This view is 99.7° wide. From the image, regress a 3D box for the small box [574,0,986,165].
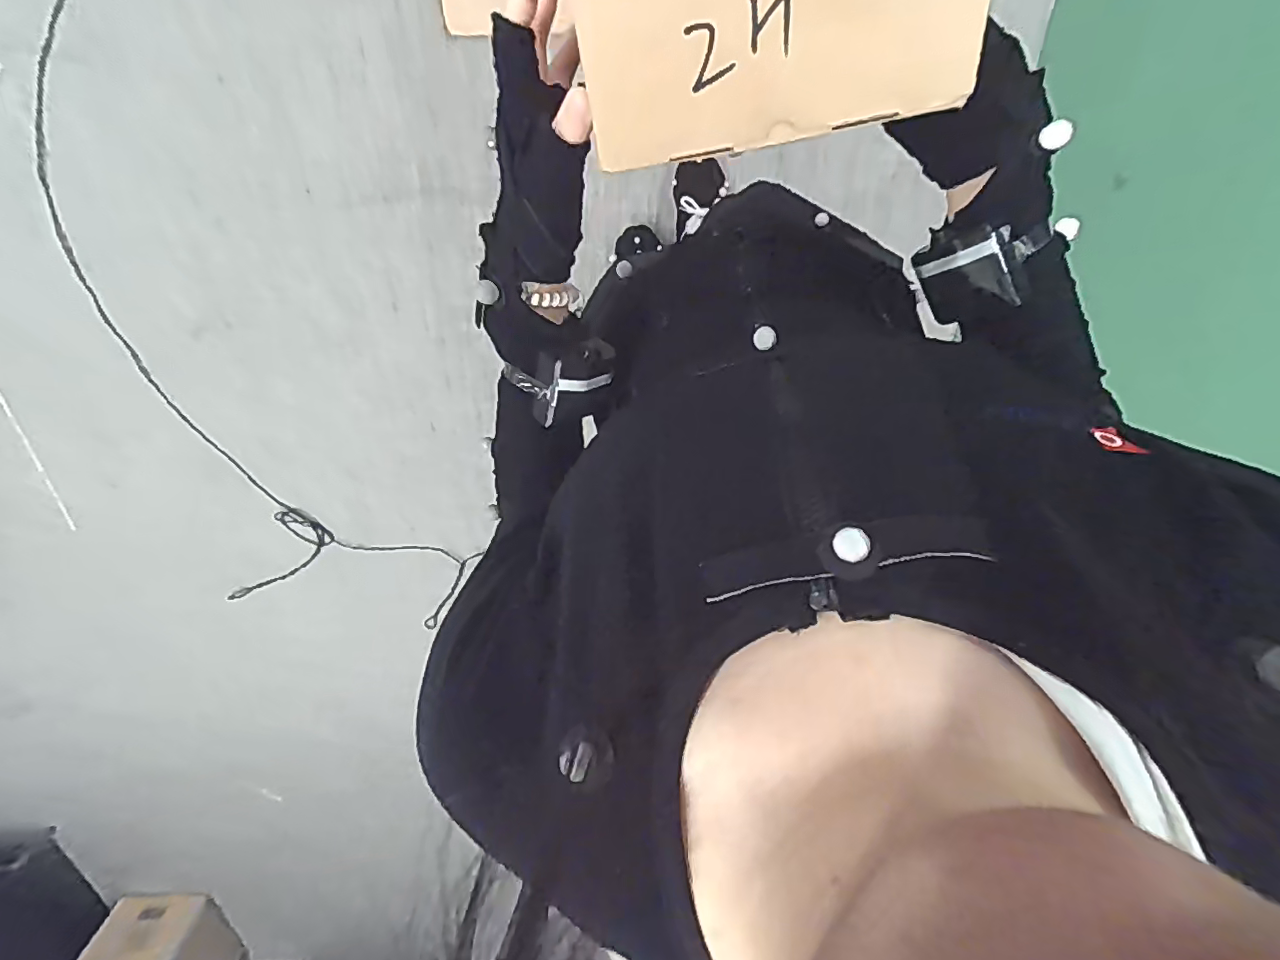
[{"bbox_3d":[0.045,-0.270,0.254,0.168,0.176,0.179,-9,128,4],"label":"small box"}]
